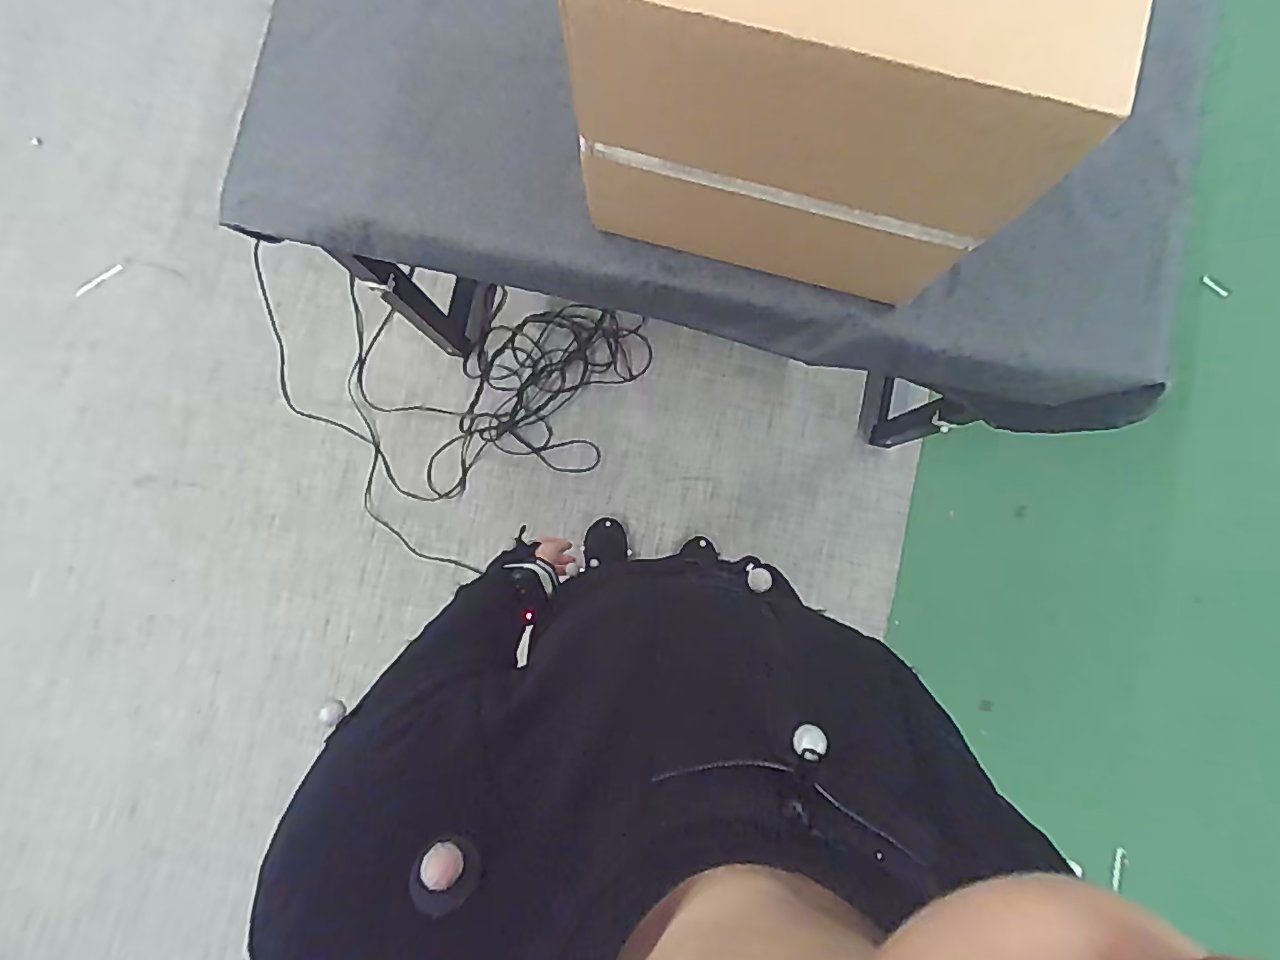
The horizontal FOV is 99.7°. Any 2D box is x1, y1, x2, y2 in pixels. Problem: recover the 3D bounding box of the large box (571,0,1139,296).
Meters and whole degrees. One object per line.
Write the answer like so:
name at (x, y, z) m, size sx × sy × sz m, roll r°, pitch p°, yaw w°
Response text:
large box at (0.175, -0.426, 0.537) m, size 0.408 × 0.320 × 0.320 m, roll 13°, pitch 84°, yaw 1°
